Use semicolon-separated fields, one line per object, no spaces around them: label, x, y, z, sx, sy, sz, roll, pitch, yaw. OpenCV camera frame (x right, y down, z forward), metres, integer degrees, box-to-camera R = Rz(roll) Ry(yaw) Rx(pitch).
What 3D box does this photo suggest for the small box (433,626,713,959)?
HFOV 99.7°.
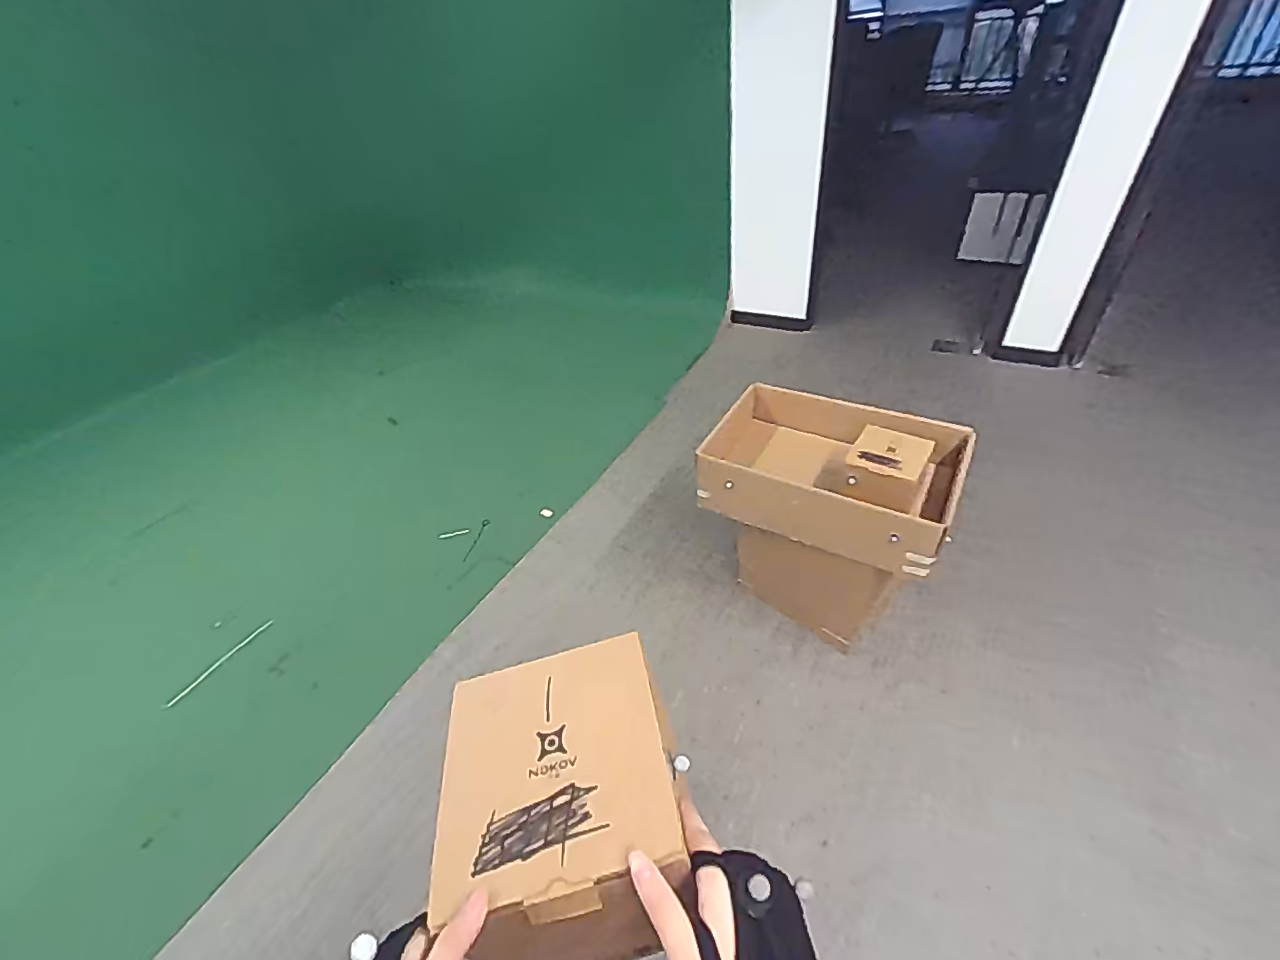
small box;-0.047;0.261;0.450;0.168;0.176;0.179;-16;35;0
